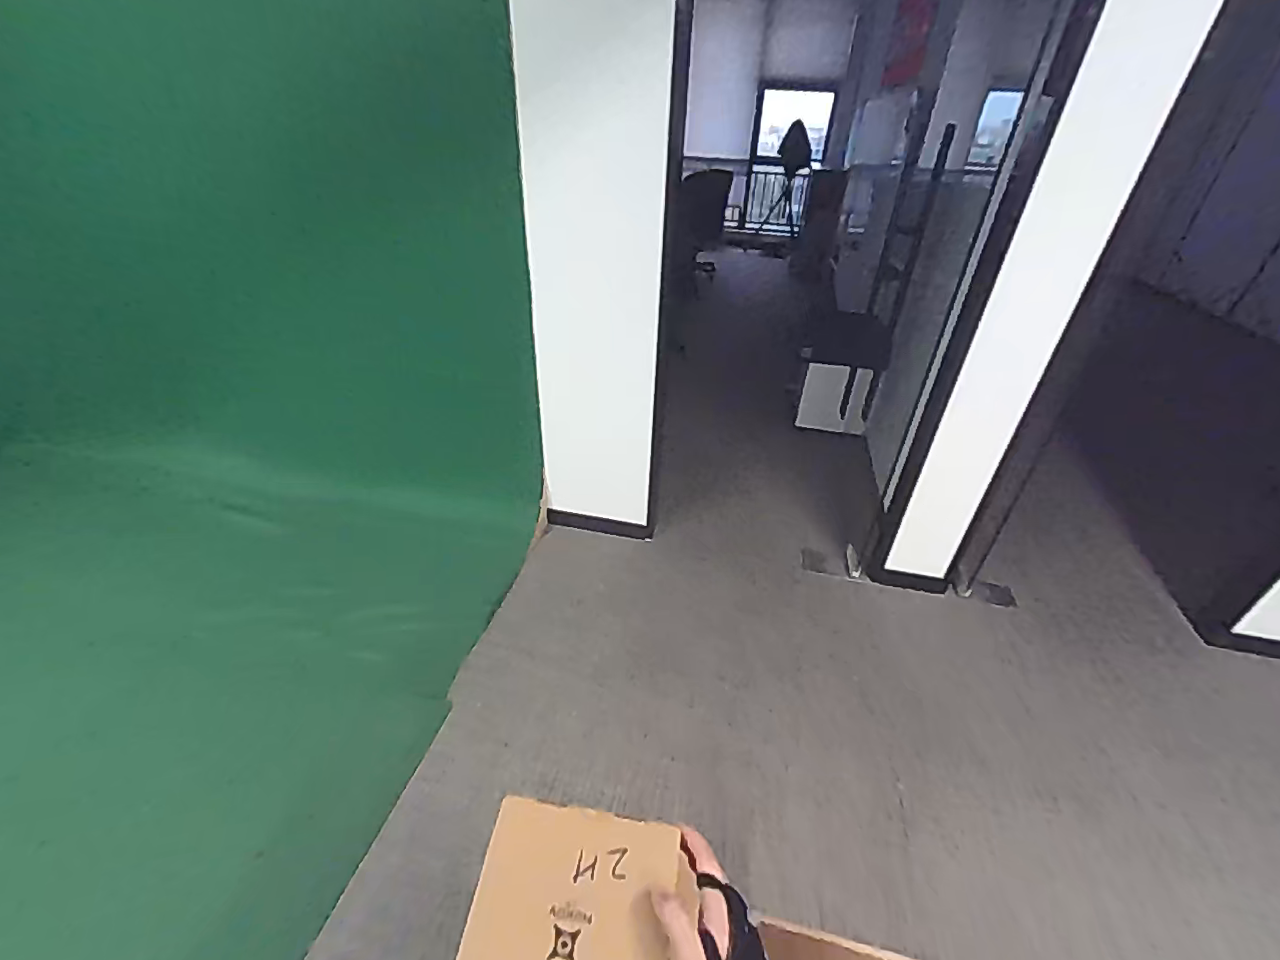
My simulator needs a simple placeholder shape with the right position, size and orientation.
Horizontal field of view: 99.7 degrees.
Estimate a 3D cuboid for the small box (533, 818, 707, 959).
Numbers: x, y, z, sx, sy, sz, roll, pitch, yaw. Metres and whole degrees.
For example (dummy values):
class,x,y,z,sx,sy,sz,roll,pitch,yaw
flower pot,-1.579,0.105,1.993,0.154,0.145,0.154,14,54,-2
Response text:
class,x,y,z,sx,sy,sz,roll,pitch,yaw
small box,-0.023,0.560,0.650,0.168,0.176,0.179,12,35,12
